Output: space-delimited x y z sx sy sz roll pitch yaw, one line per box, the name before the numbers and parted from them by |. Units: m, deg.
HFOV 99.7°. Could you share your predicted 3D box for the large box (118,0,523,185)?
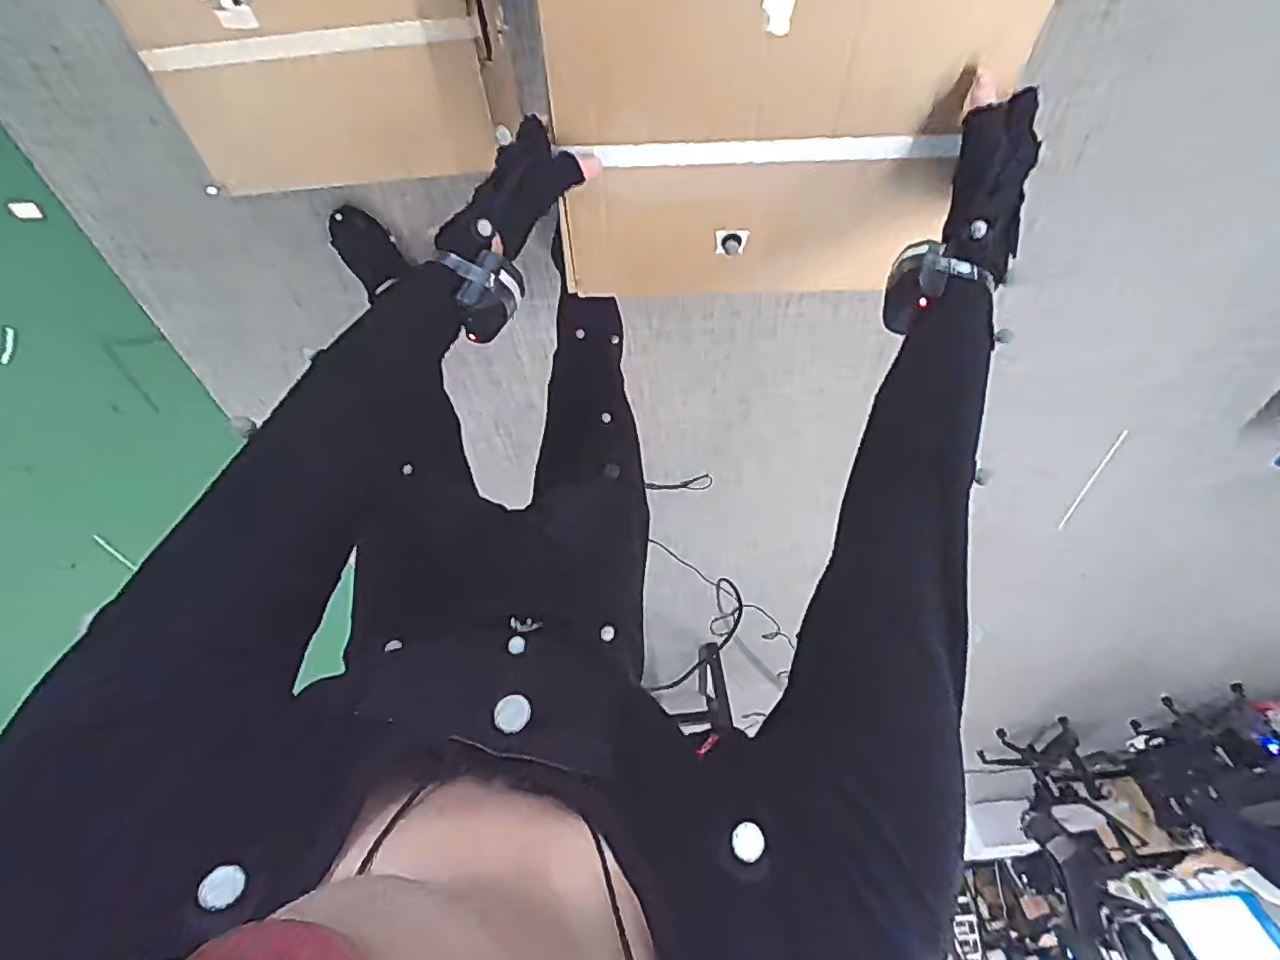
large box | -0.407 -0.646 0.754 0.408 0.320 0.320 -4 135 0
